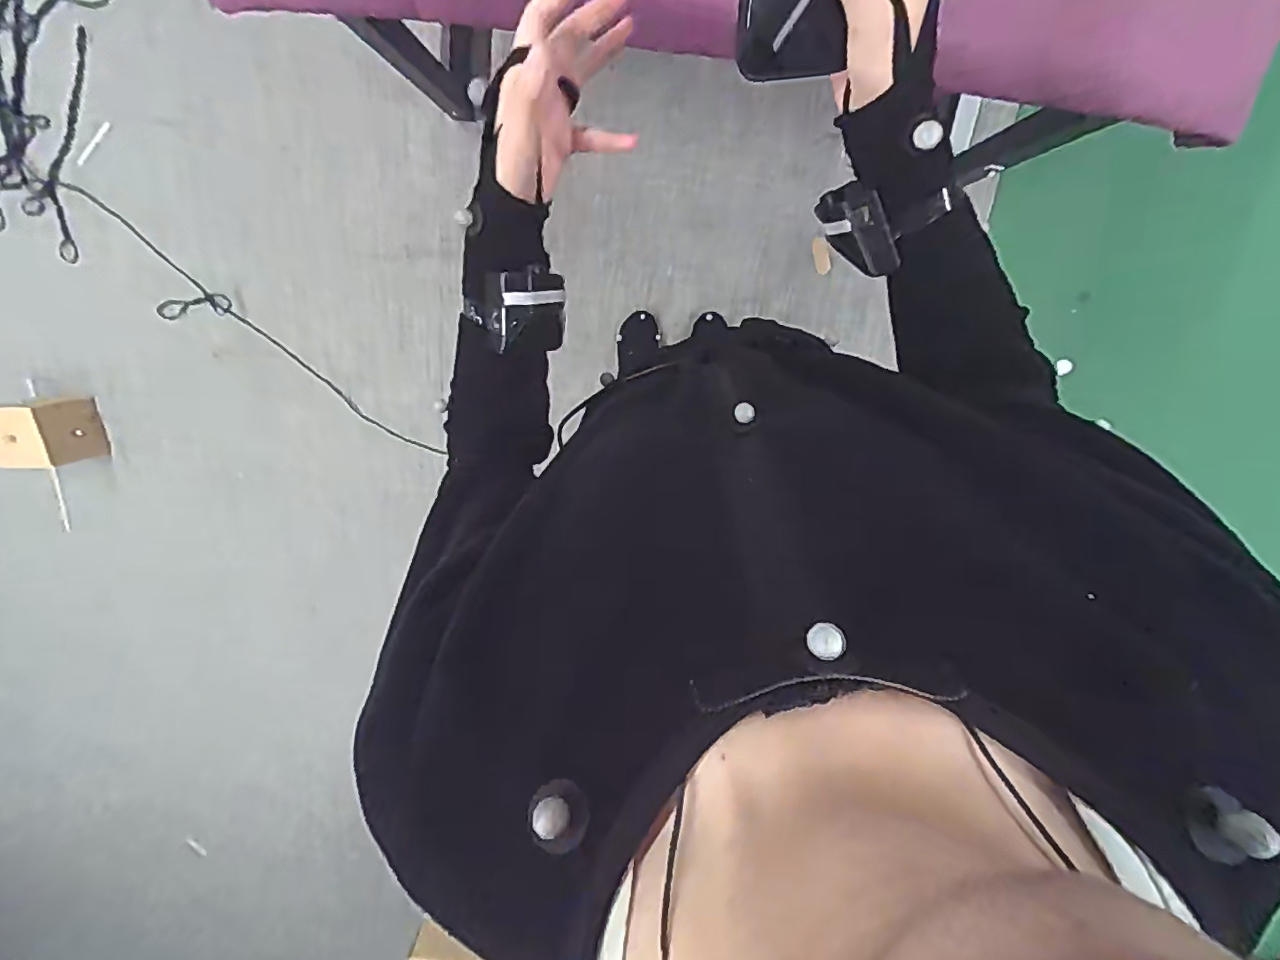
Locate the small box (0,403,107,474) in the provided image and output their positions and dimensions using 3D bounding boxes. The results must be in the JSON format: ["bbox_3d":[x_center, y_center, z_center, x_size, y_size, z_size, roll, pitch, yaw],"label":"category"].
[{"bbox_3d":[-1.643,-0.121,1.497,0.179,0.176,0.168,0,107,3],"label":"small box"}]
